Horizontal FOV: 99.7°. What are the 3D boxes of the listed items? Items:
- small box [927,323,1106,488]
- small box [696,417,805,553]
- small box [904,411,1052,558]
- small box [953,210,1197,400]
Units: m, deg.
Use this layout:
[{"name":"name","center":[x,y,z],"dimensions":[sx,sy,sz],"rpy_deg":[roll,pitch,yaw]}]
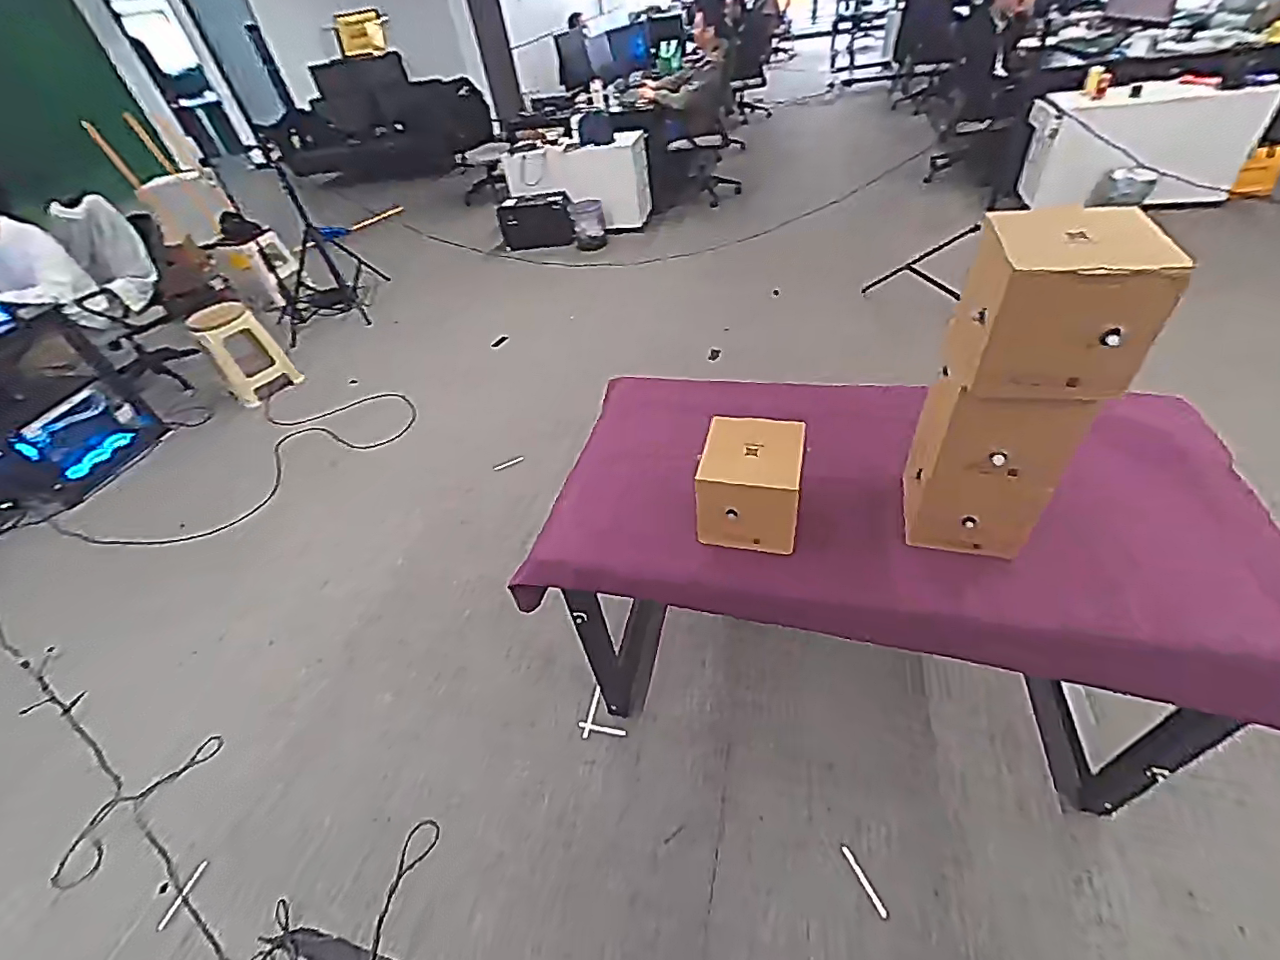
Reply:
[{"name":"small box","center":[0.535,-0.113,0.799],"dimensions":[0.168,0.176,0.179],"rpy_deg":[7,46,17]},{"name":"small box","center":[0.201,0.009,0.971],"dimensions":[0.168,0.176,0.179],"rpy_deg":[6,44,16]},{"name":"small box","center":[0.551,0.007,0.909],"dimensions":[0.168,0.176,0.179],"rpy_deg":[8,46,17]},{"name":"small box","center":[0.511,-0.215,0.672],"dimensions":[0.168,0.176,0.179],"rpy_deg":[5,45,14]}]
